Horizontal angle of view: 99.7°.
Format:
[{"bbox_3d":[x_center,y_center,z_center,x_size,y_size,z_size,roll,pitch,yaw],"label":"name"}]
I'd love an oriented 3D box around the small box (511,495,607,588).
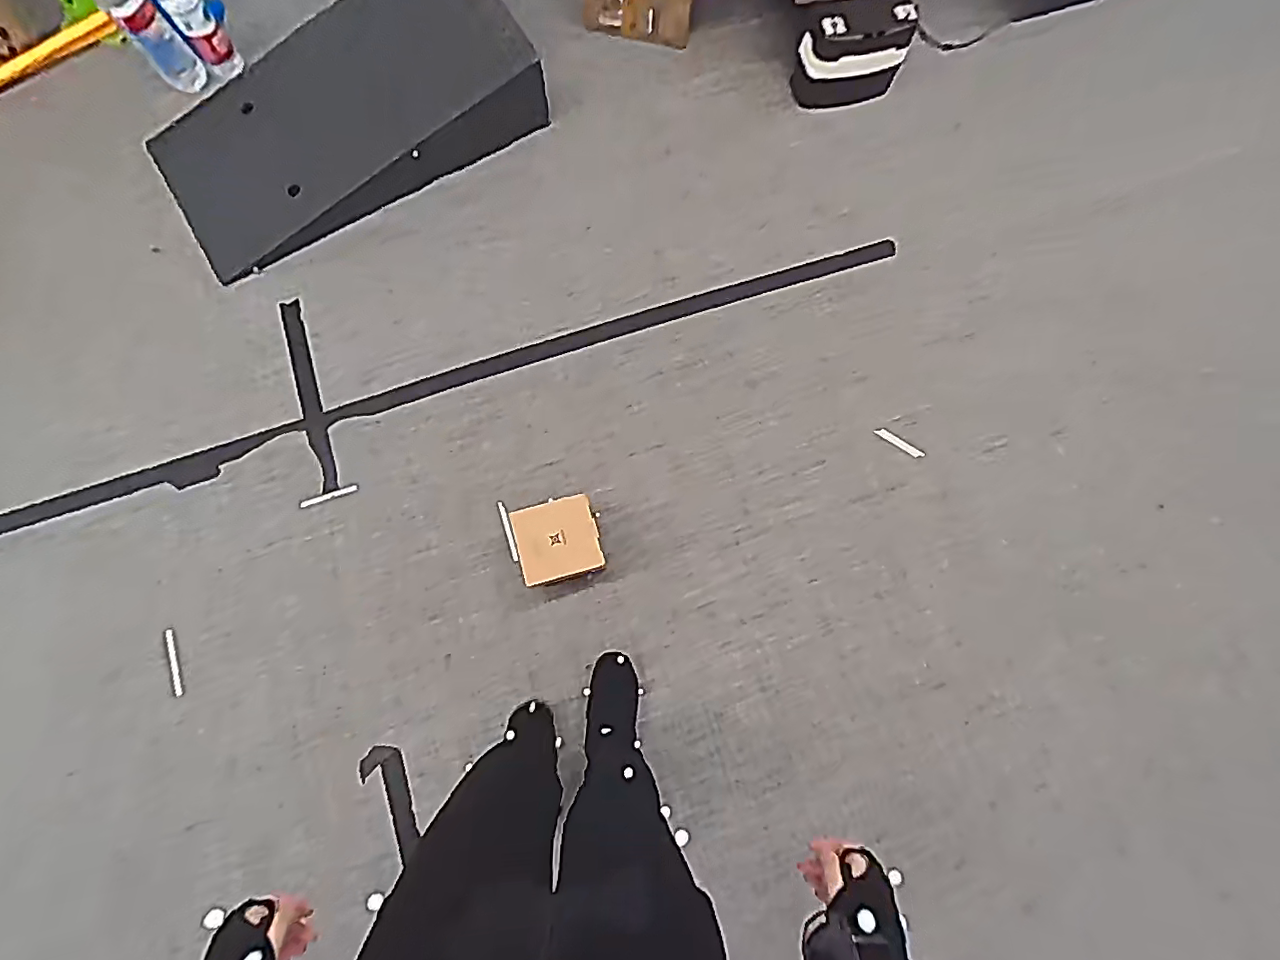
[{"bbox_3d":[-0.177,0.141,1.227,0.179,0.176,0.168,-15,80,-4],"label":"small box"}]
